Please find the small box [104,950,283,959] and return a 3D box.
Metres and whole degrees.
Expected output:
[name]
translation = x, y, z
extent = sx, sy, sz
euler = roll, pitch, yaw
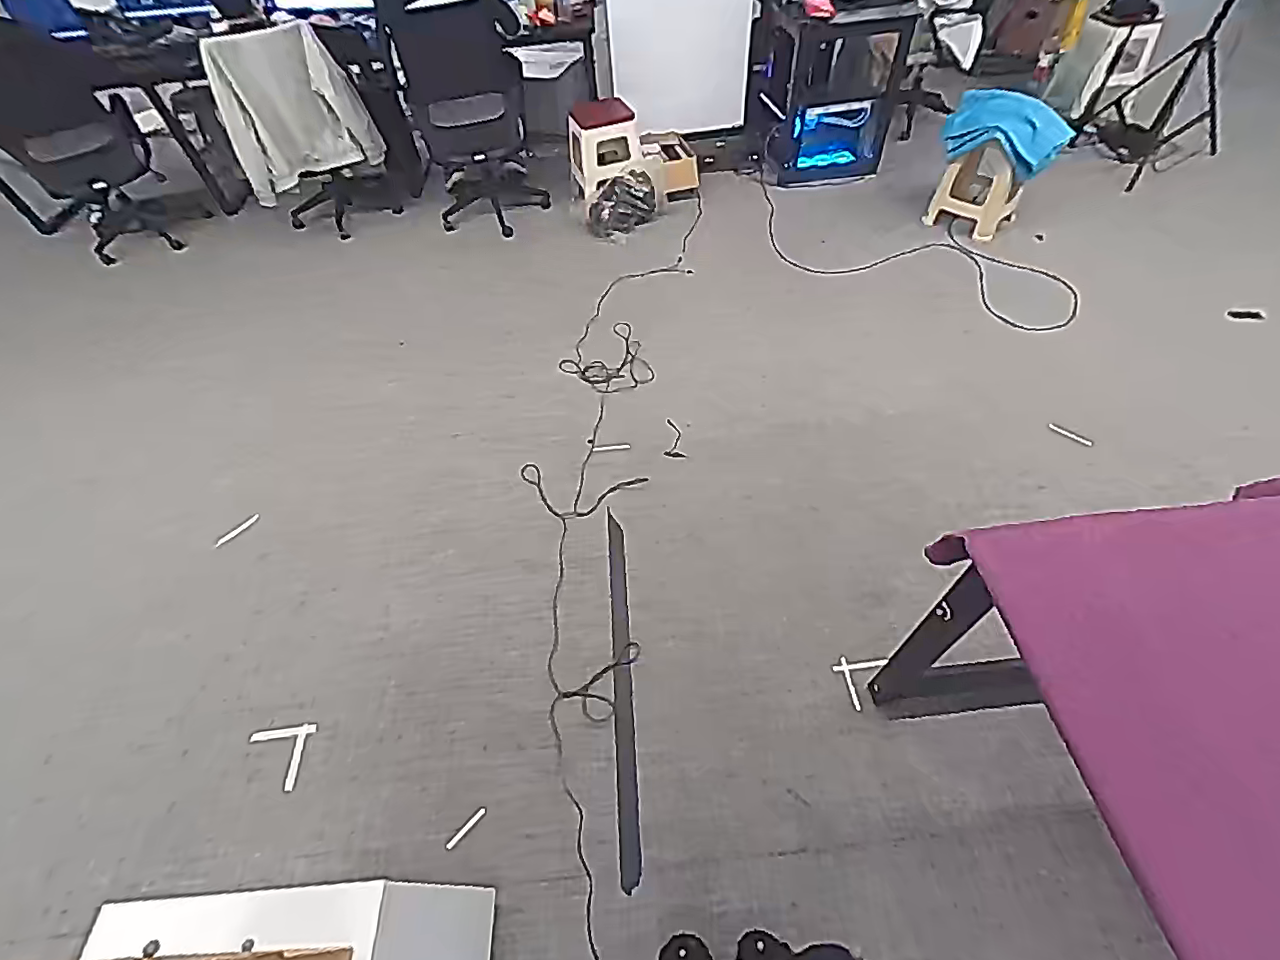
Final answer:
[small box]
translation = -0.459, 0.518, 0.461
extent = 0.179, 0.176, 0.168
euler = -3, 53, 1
